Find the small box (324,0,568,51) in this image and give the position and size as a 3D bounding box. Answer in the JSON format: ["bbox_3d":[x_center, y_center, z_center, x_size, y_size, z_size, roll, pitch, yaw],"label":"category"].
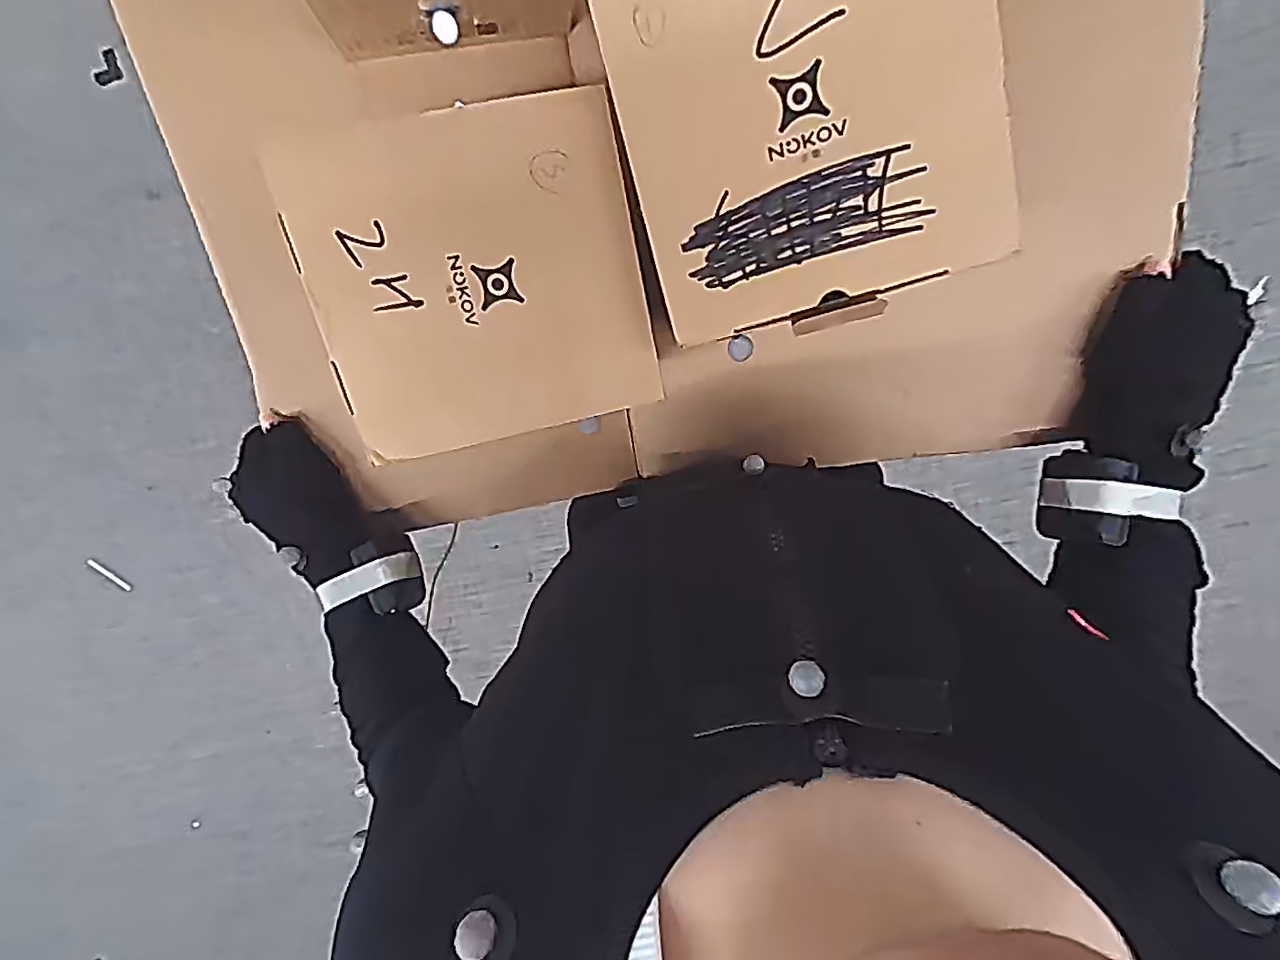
[{"bbox_3d":[-0.132,-0.382,0.293,0.168,0.176,0.179,-13,107,-7],"label":"small box"}]
